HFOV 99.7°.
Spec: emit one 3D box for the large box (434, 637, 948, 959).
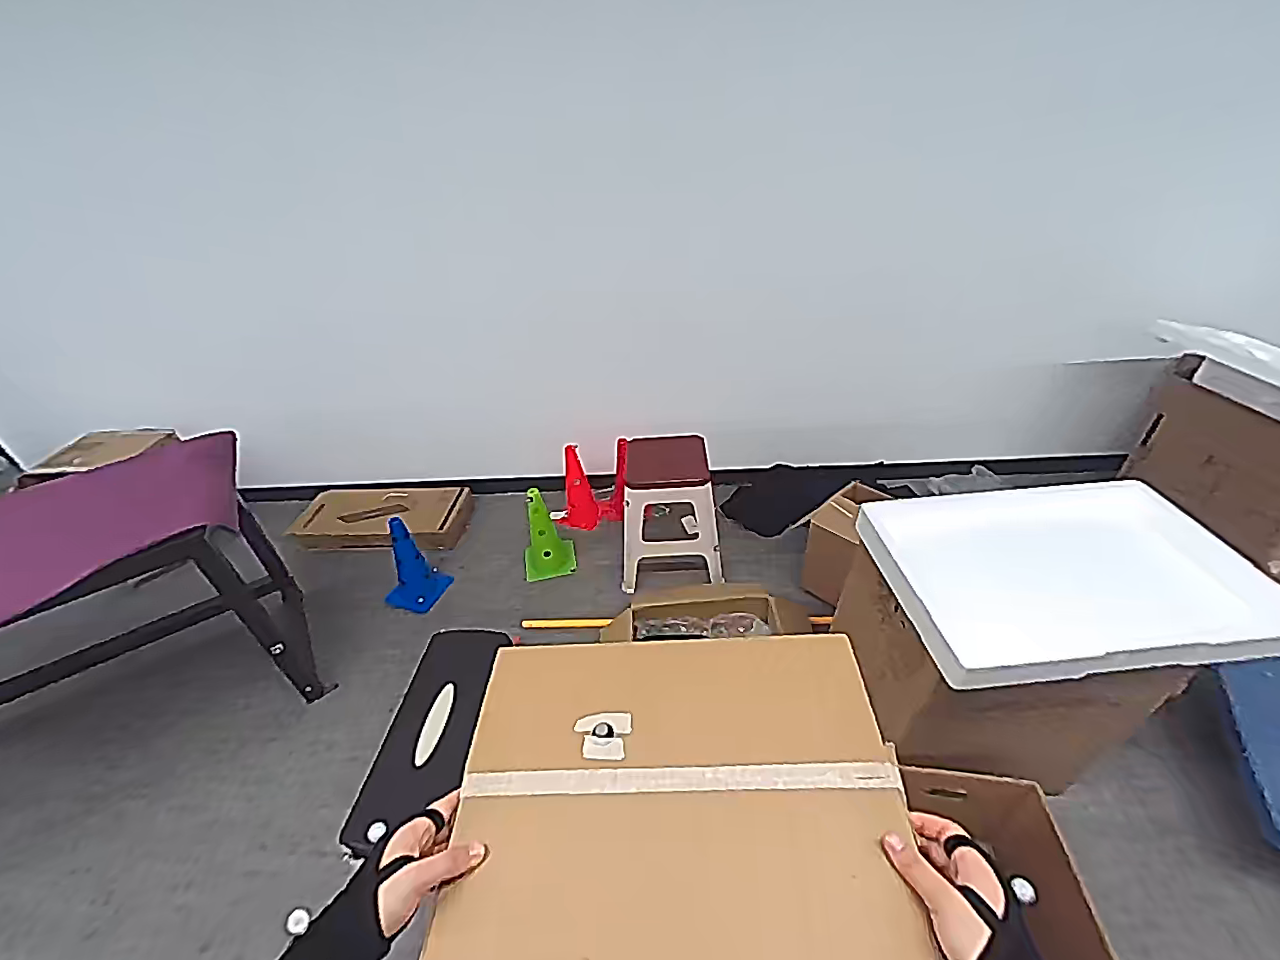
[{"bbox_3d":[0.053,0.409,0.603,0.408,0.320,0.320,-6,37,6],"label":"large box"}]
